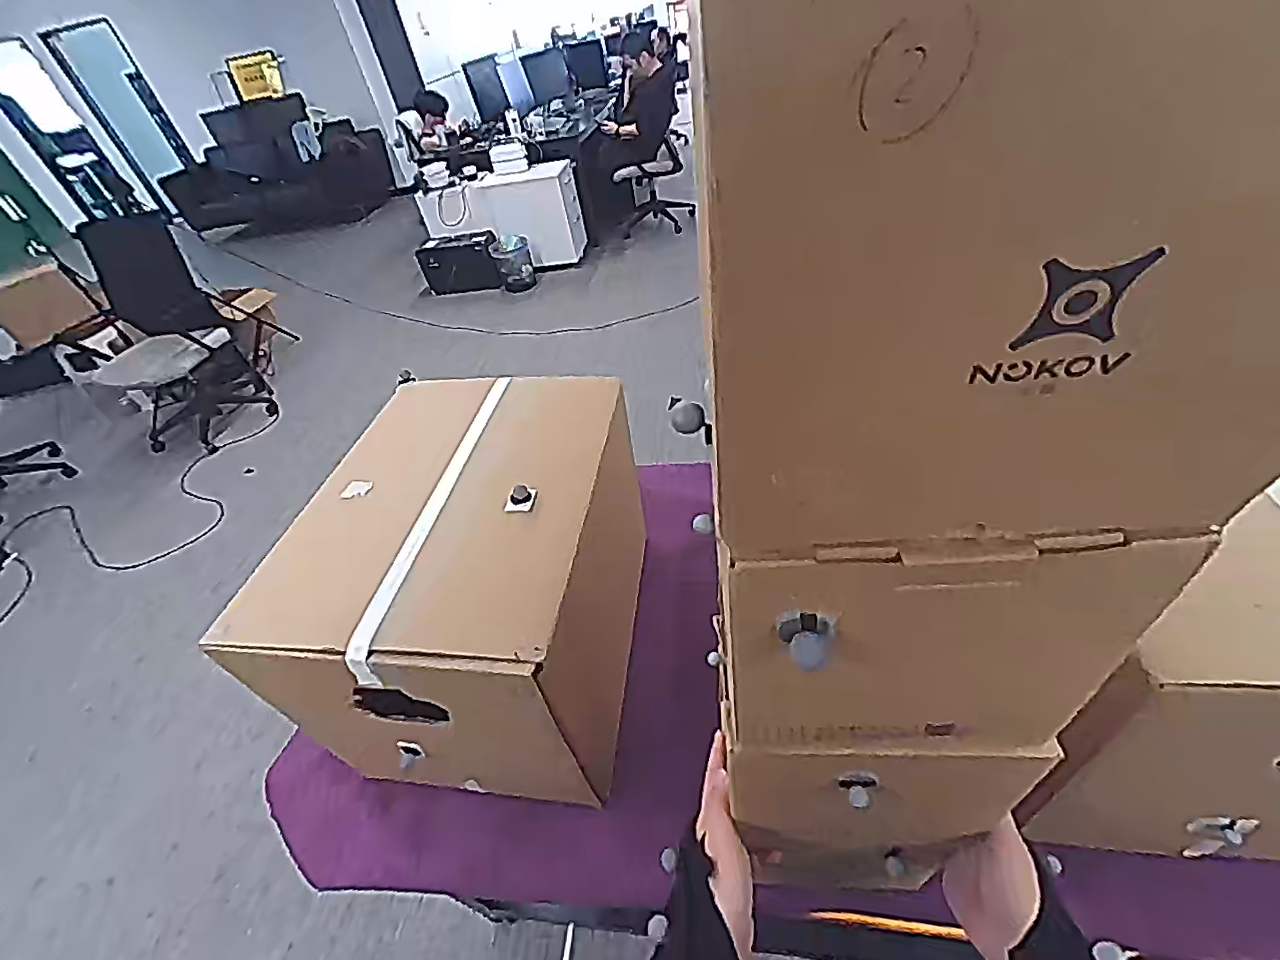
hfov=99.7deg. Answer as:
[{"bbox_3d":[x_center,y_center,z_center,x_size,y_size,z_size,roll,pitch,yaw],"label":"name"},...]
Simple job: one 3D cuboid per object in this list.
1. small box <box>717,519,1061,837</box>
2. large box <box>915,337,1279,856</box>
[{"bbox_3d":[0.151,0.147,0.403,0.179,0.176,0.168,-3,43,7],"label":"small box"},{"bbox_3d":[0.507,0.099,0.544,0.320,0.320,0.408,-2,41,10],"label":"large box"}]
